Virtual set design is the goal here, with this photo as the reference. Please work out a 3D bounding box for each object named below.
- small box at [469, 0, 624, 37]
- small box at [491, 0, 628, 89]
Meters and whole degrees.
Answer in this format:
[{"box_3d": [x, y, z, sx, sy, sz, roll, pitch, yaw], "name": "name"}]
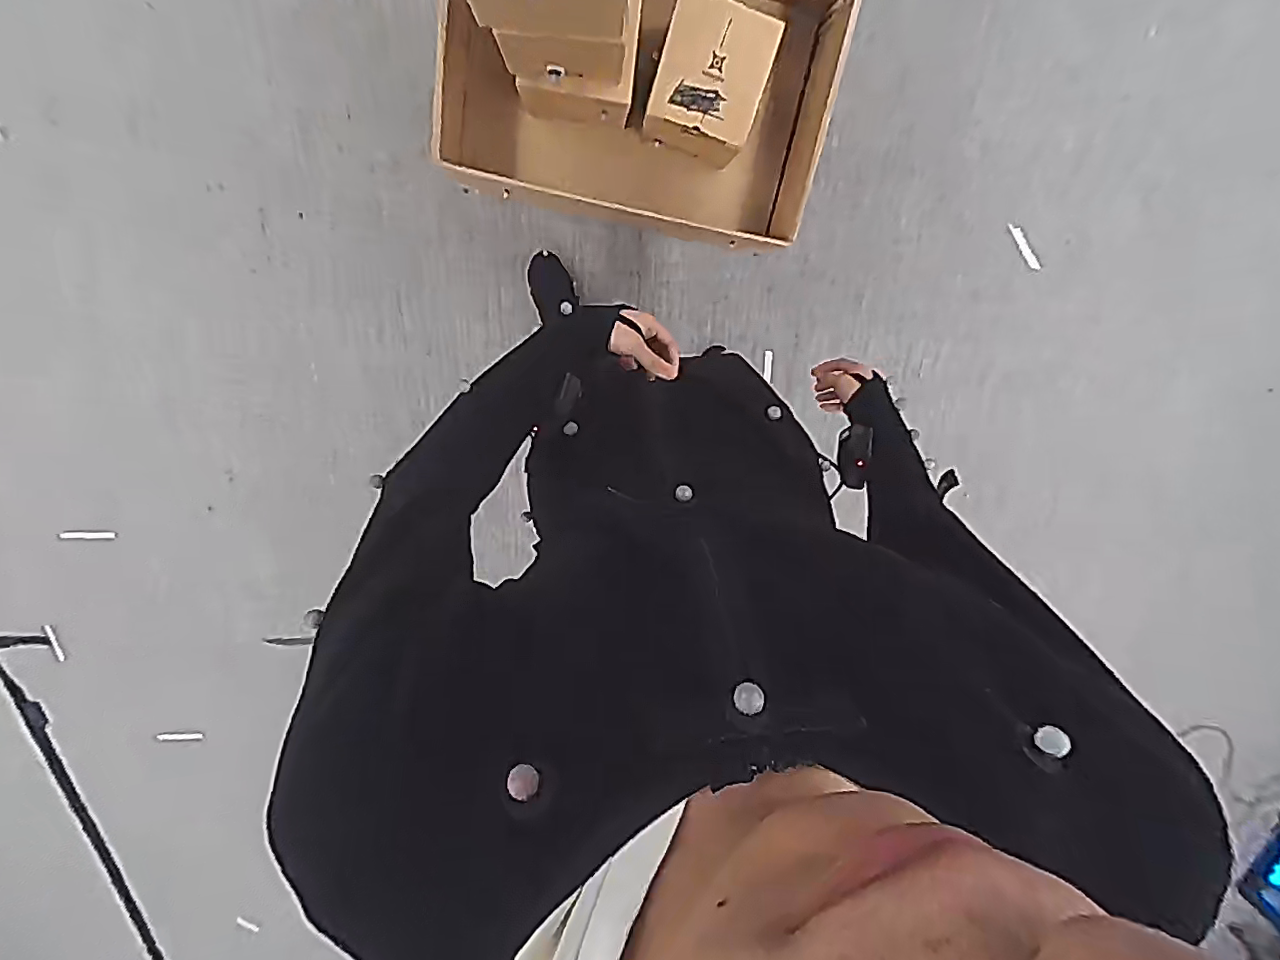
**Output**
[{"box_3d": [-0.099, -0.583, 0.546, 0.179, 0.176, 0.168, 1, 111, -5], "name": "small box"}, {"box_3d": [-0.101, -0.642, 0.699, 0.168, 0.176, 0.179, 0, 111, -5], "name": "small box"}]
